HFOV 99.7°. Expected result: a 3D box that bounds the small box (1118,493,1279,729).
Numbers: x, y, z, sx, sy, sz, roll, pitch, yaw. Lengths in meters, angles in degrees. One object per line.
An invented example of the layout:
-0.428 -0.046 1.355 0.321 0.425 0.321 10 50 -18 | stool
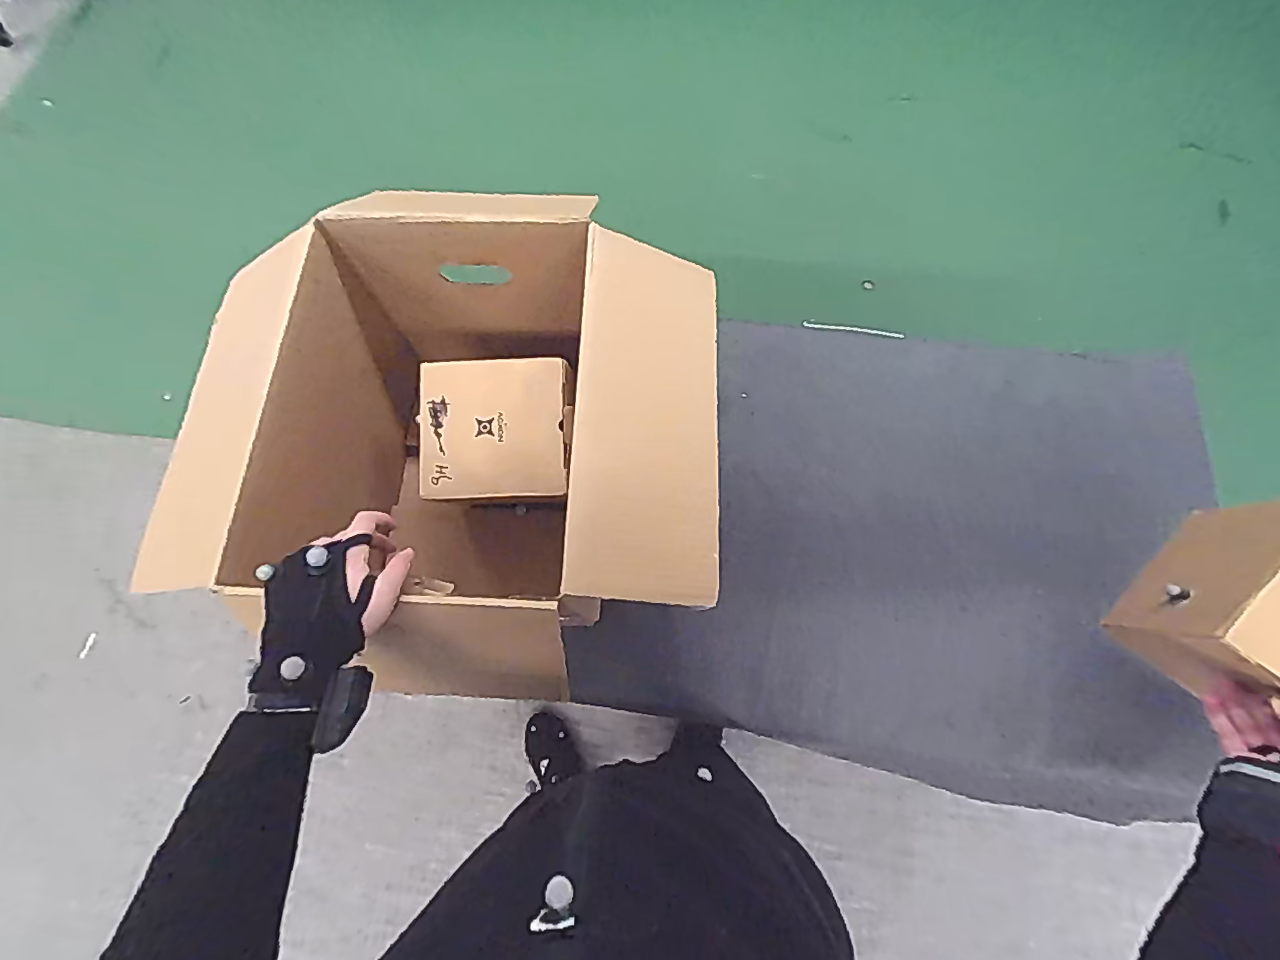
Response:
0.628 0.131 0.522 0.168 0.176 0.179 40 89 15 | small box
